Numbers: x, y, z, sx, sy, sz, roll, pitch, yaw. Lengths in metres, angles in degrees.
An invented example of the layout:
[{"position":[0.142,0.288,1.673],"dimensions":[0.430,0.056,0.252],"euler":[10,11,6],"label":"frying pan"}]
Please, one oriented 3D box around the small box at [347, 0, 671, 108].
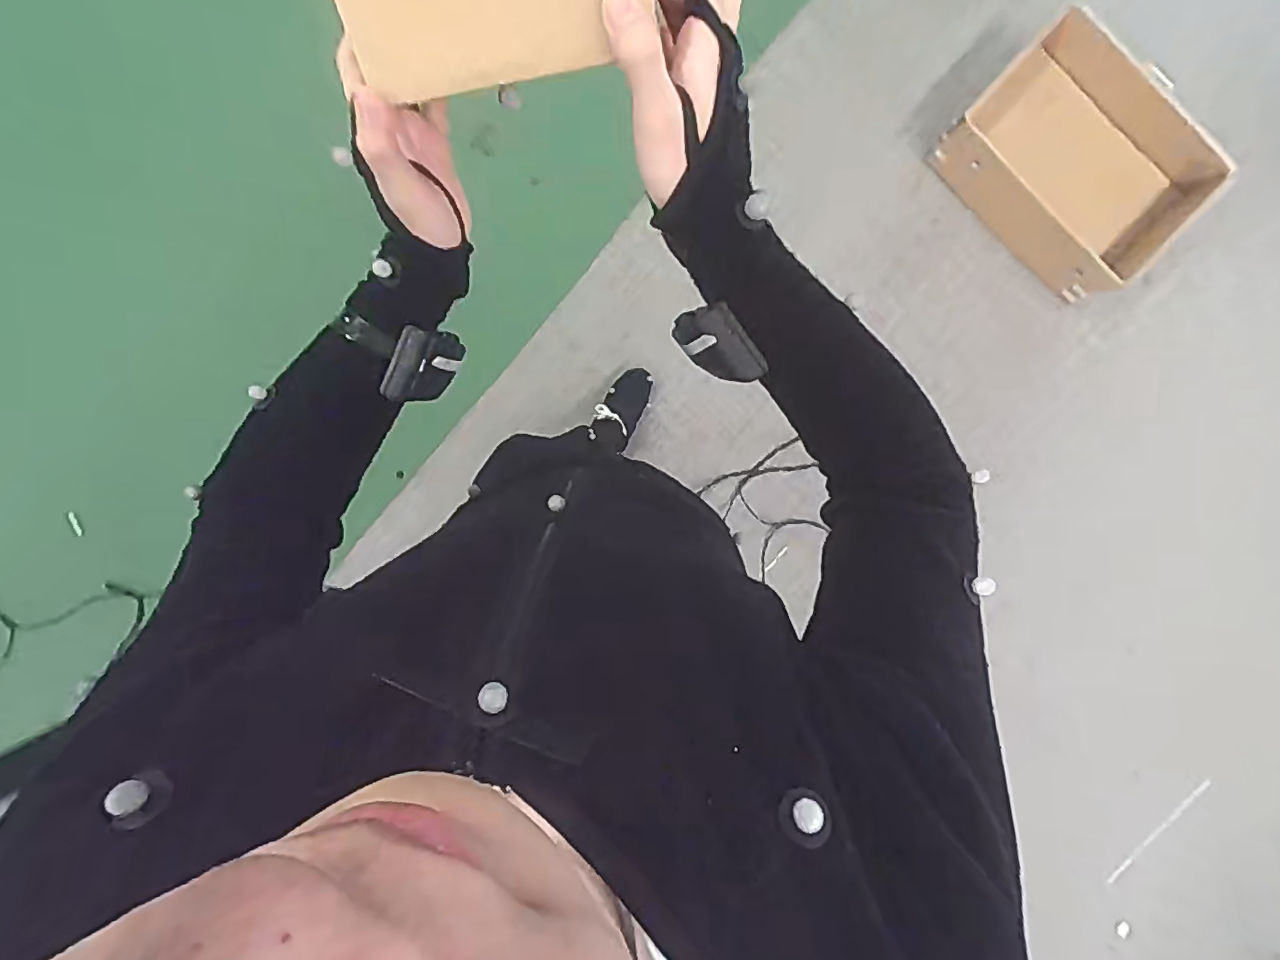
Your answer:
[{"position":[-0.072,-0.337,0.310],"dimensions":[0.168,0.176,0.179],"euler":[-5,127,8],"label":"small box"}]
